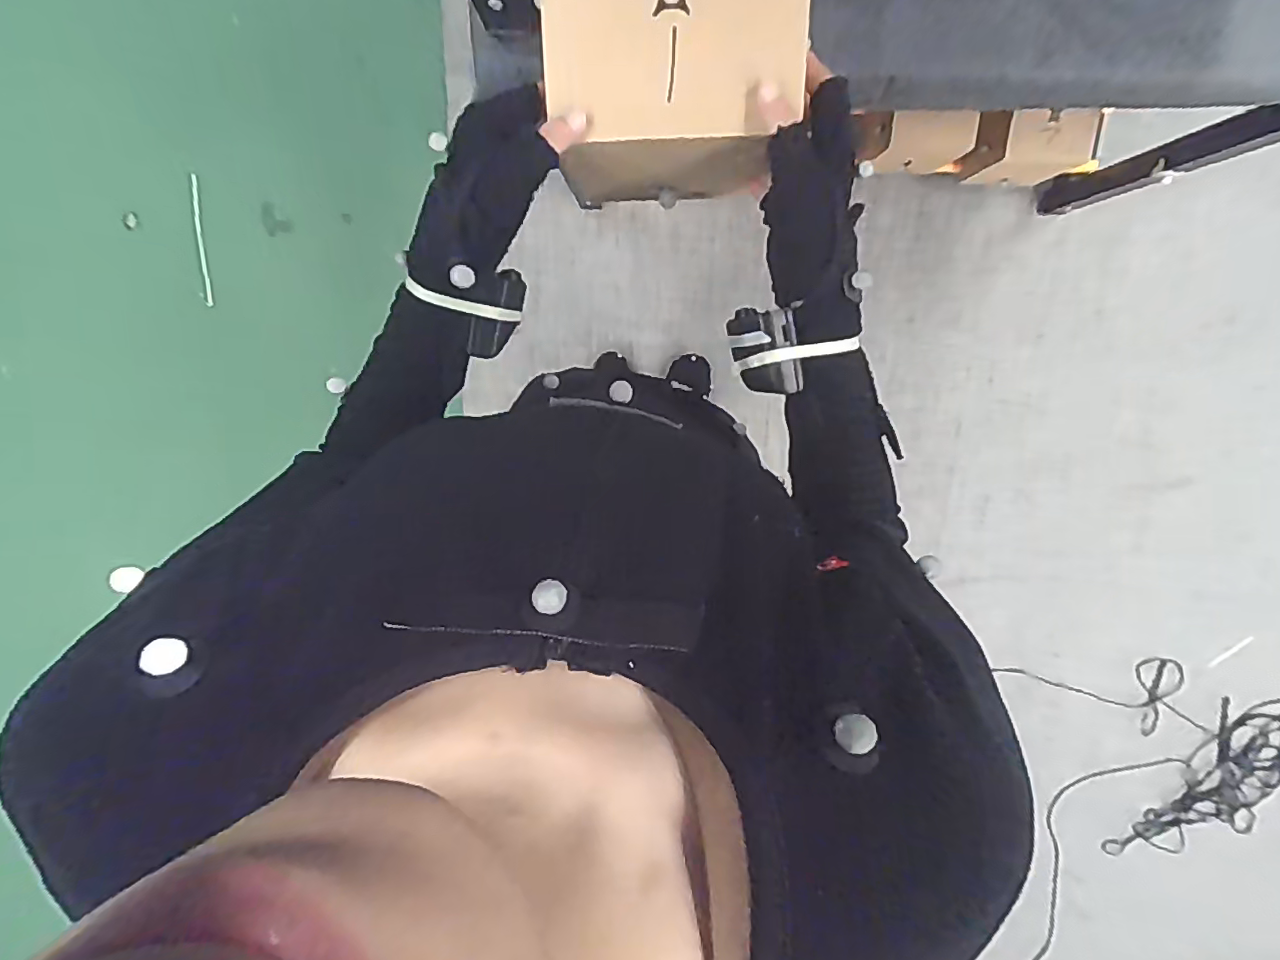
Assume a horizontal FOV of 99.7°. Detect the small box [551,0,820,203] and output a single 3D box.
[{"bbox_3d":[0.031,-0.322,0.401,0.168,0.176,0.179,0,105,4],"label":"small box"}]
